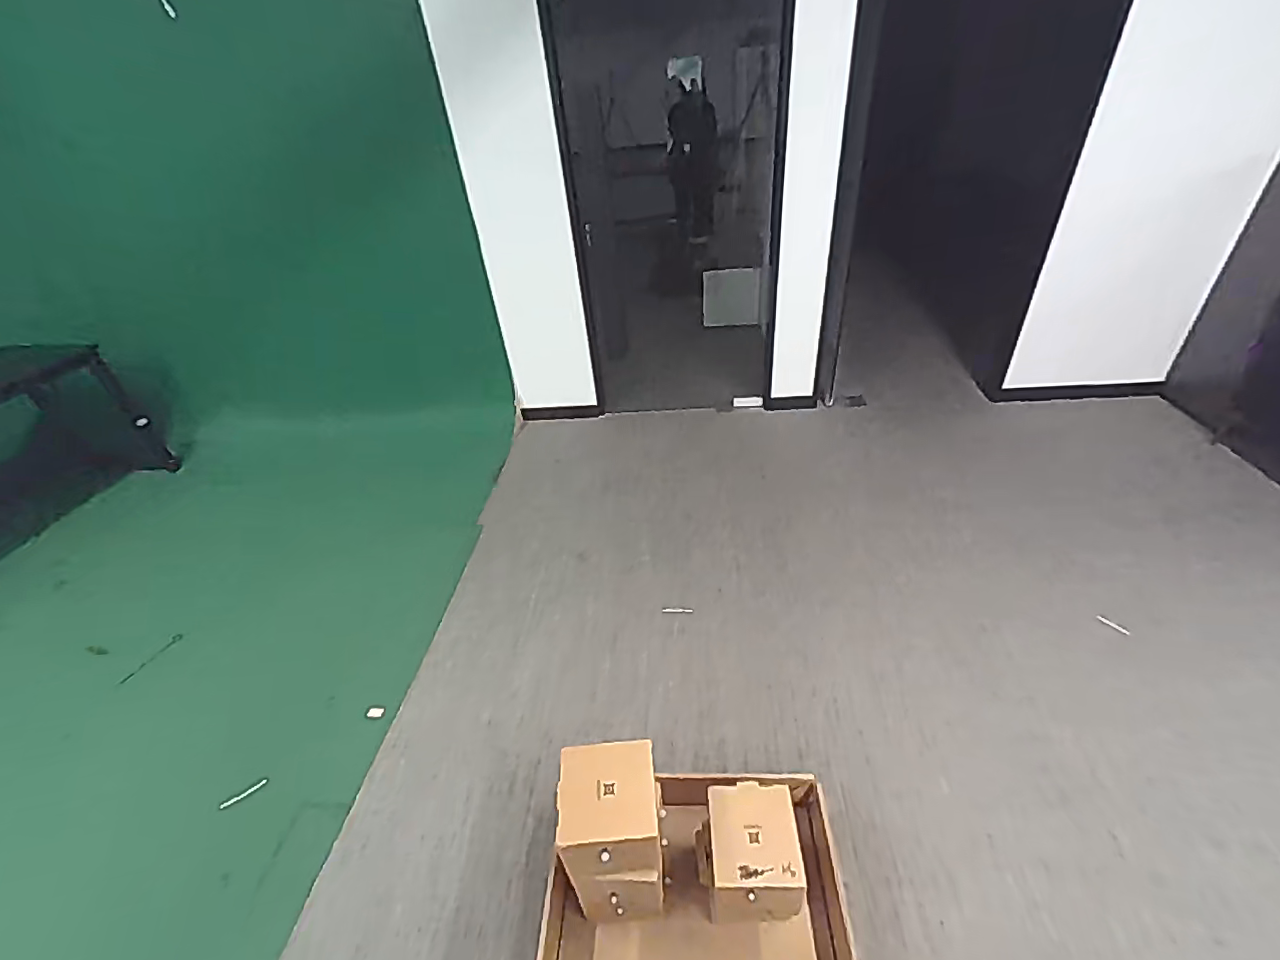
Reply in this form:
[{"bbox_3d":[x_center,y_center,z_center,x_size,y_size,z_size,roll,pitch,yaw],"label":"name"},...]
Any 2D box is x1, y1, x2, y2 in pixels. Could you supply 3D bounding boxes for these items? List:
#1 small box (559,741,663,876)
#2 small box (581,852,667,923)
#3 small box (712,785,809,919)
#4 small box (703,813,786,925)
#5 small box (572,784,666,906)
[{"bbox_3d":[-0.049,0.616,1.014,0.179,0.176,0.168,-6,38,0],"label":"small box"},{"bbox_3d":[-0.030,0.872,1.216,0.179,0.176,0.168,-2,37,1],"label":"small box"},{"bbox_3d":[0.230,0.739,1.079,0.168,0.176,0.179,-4,36,5],"label":"small box"},{"bbox_3d":[0.240,0.856,1.196,0.179,0.176,0.168,-6,37,1],"label":"small box"},{"bbox_3d":[-0.034,0.746,1.109,0.168,0.176,0.179,-1,38,5],"label":"small box"}]
